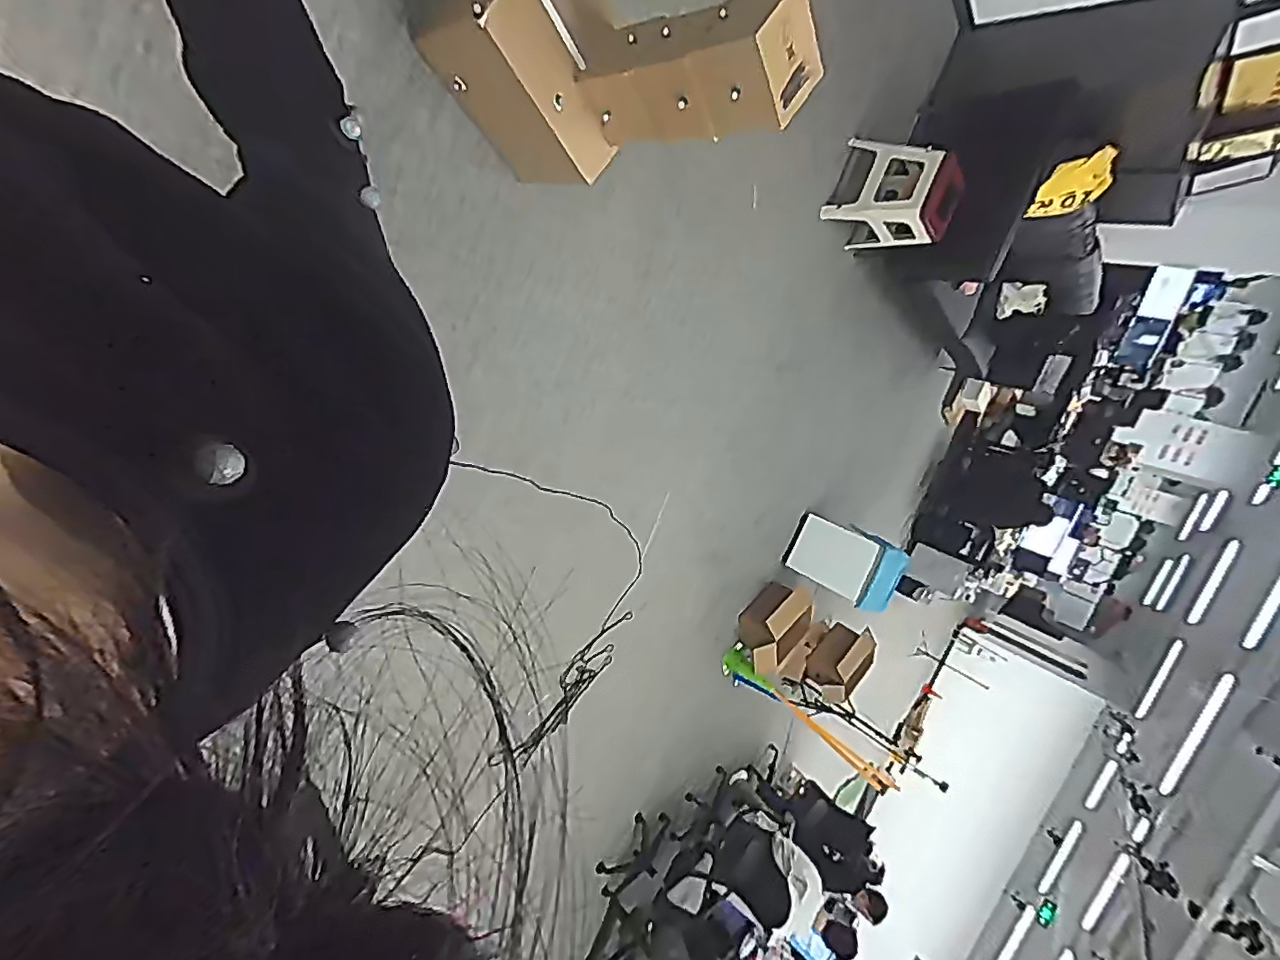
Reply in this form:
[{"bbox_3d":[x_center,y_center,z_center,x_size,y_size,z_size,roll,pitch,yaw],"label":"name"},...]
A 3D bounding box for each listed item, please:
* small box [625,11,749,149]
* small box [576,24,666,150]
[{"bbox_3d":[0.102,-0.851,1.167,0.168,0.176,0.179,-57,140,-10],"label":"small box"},{"bbox_3d":[-0.016,-0.908,1.263,0.179,0.176,0.168,-57,140,-9],"label":"small box"}]
